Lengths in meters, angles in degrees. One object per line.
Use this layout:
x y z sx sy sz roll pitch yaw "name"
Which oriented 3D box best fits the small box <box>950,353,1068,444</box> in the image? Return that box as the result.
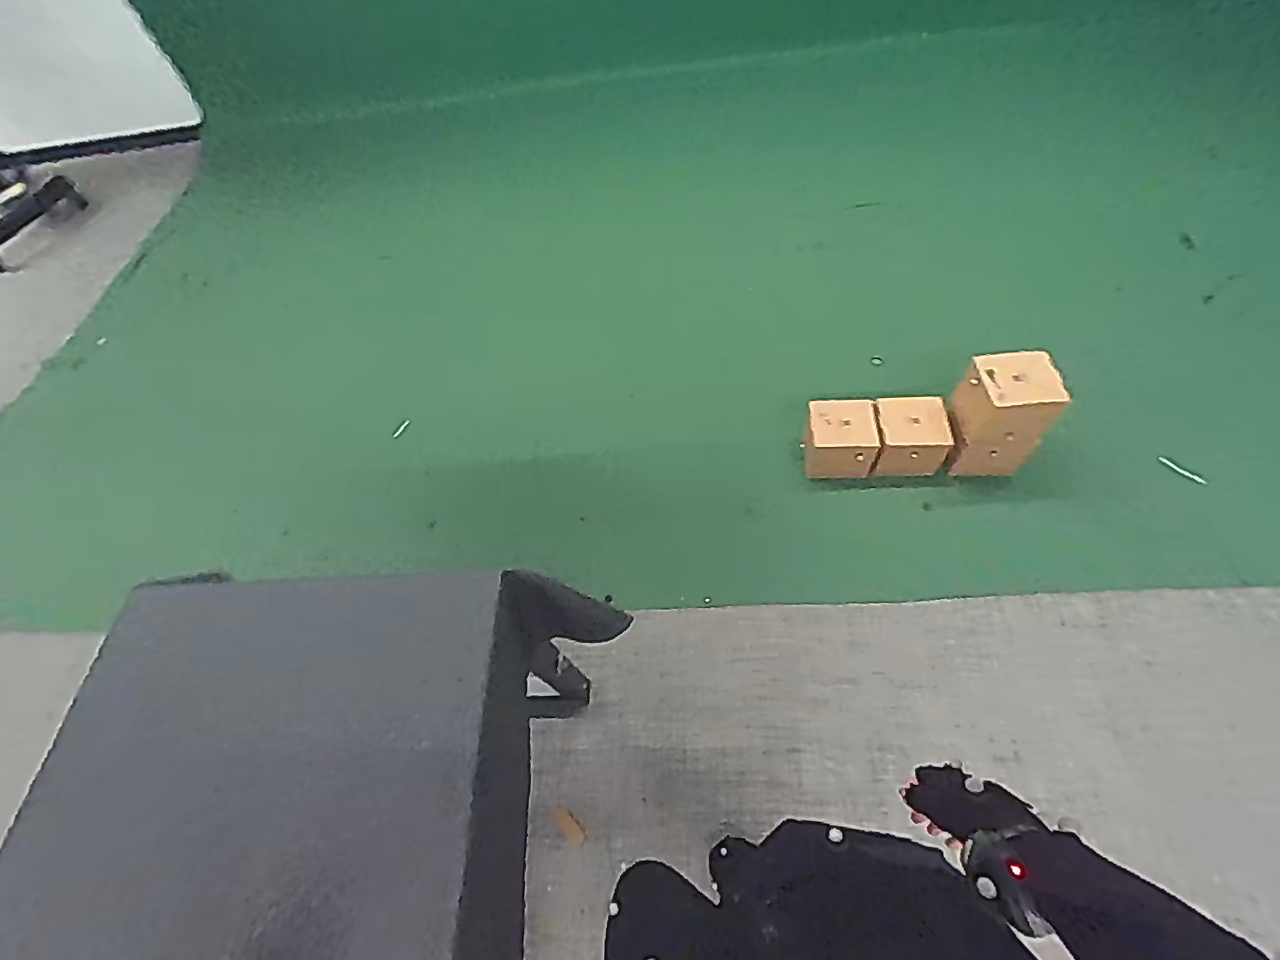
0.947 -0.208 1.406 0.179 0.176 0.168 -3 58 5 "small box"
